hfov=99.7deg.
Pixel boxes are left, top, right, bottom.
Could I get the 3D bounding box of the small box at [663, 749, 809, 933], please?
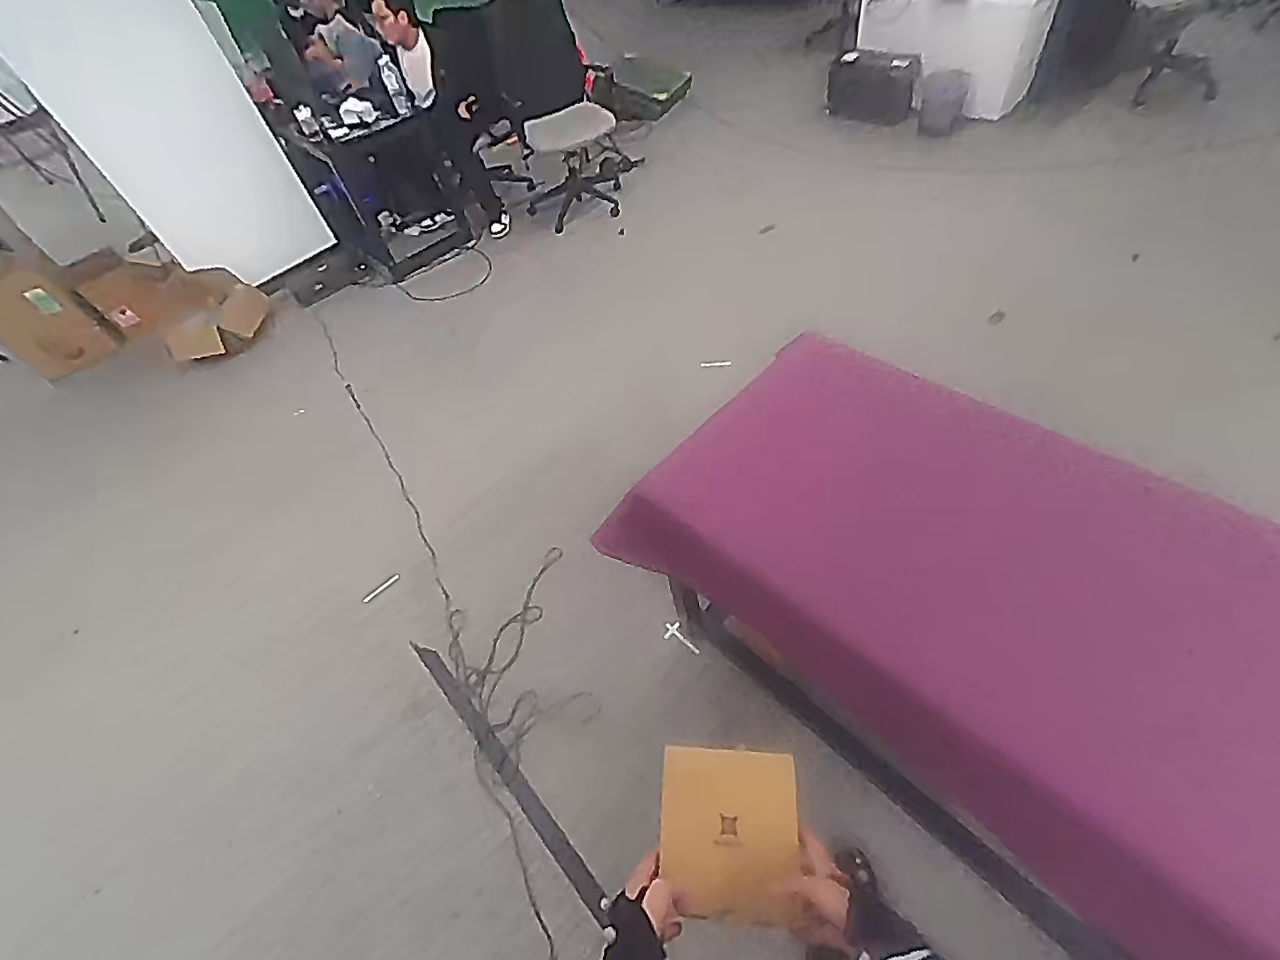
[{"bbox_3d":[0.119,0.466,0.717,0.168,0.176,0.179,0,59,7],"label":"small box"}]
